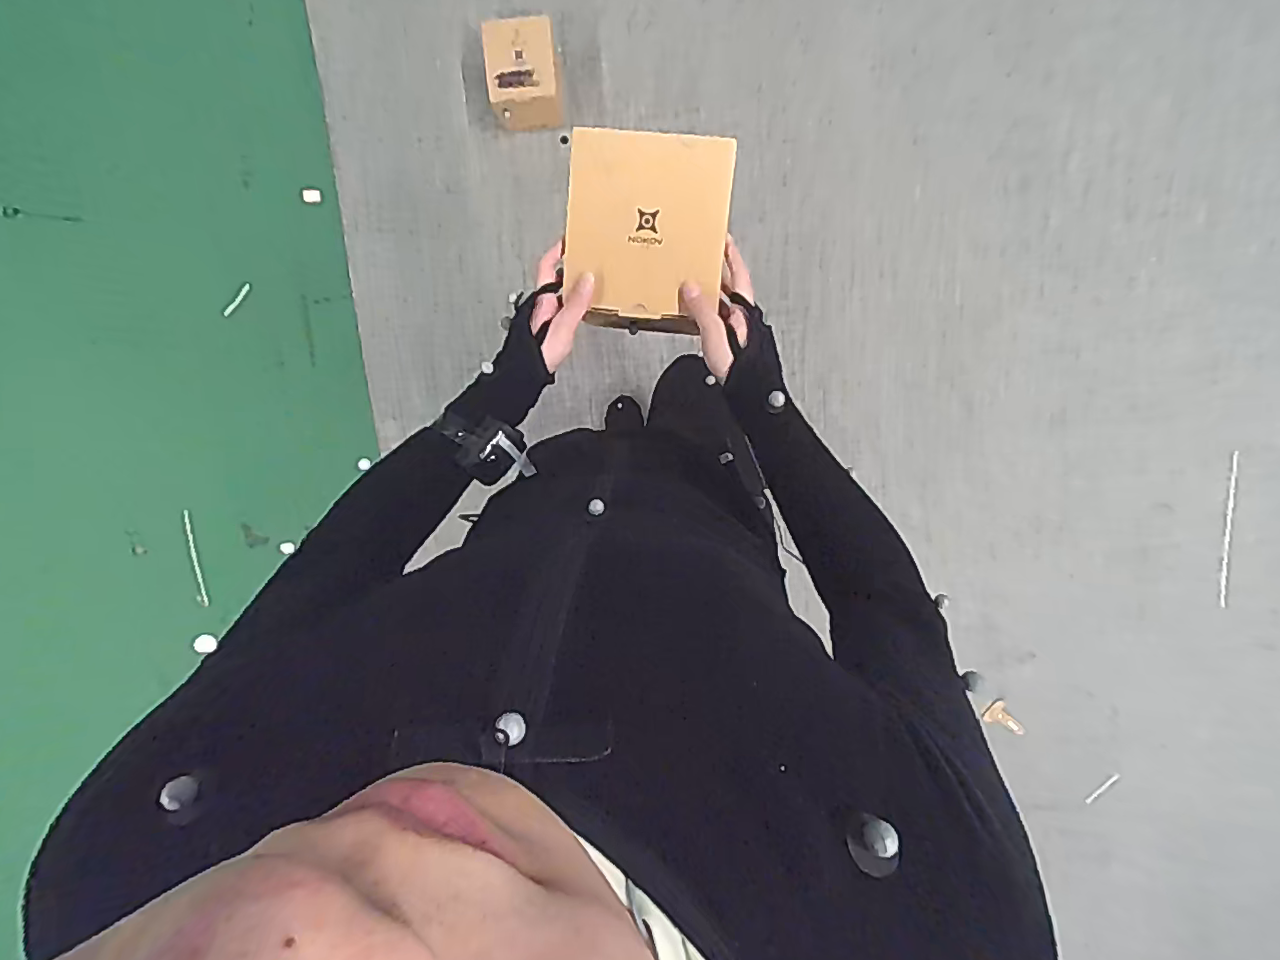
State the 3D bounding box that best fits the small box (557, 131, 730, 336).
[{"bbox_3d":[0.005,-0.272,0.635,0.168,0.176,0.179,6,101,3],"label":"small box"}]
